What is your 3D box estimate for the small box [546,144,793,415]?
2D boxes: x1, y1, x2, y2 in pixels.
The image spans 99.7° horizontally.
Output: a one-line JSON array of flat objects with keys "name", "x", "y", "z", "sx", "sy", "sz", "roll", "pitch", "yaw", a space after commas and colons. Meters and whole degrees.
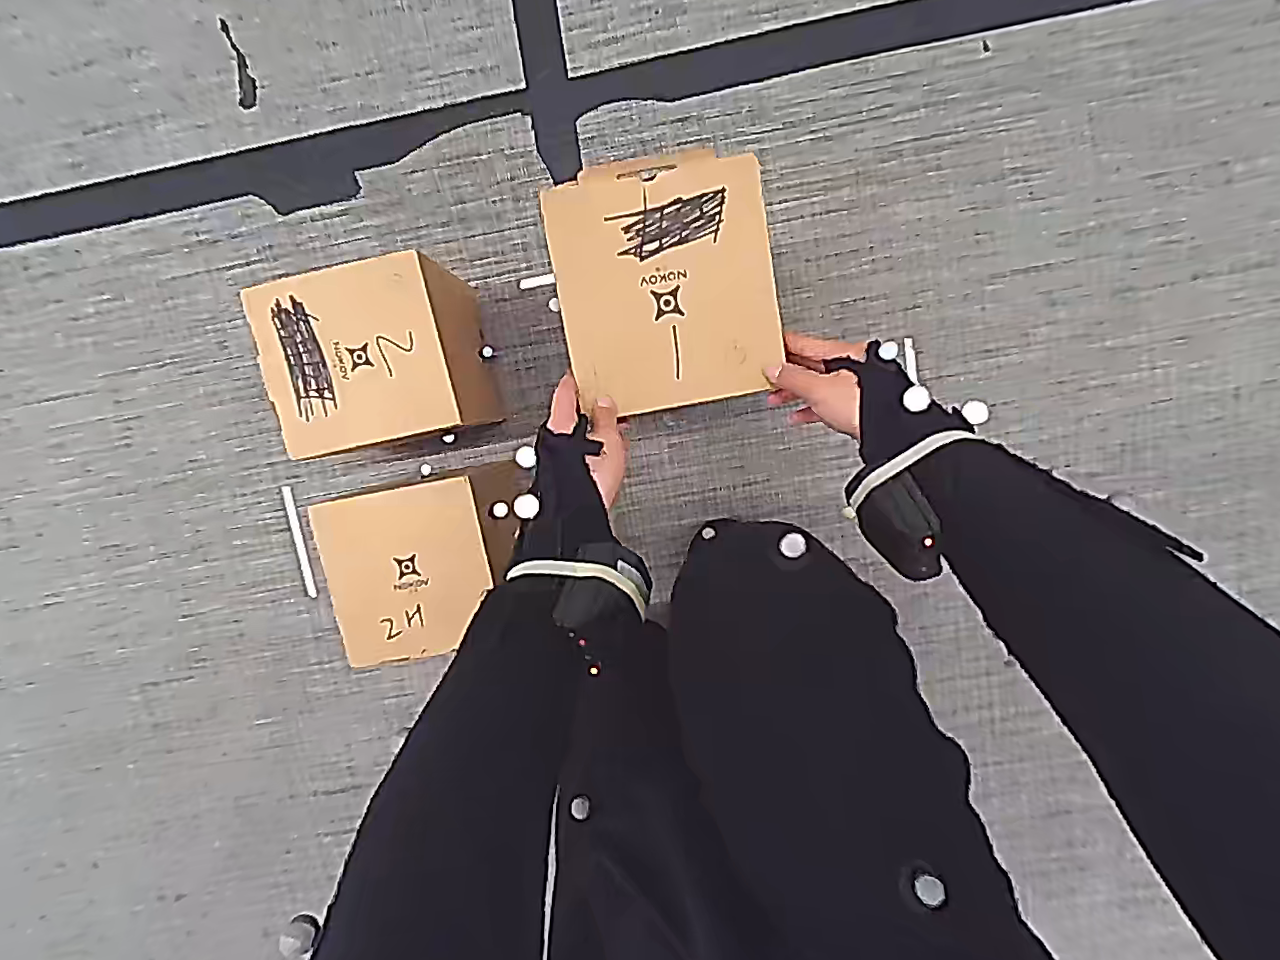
[{"name": "small box", "x": 0.021, "y": -0.155, "z": 0.478, "sx": 0.168, "sy": 0.176, "sz": 0.179, "roll": -10, "pitch": 98, "yaw": 0}]
